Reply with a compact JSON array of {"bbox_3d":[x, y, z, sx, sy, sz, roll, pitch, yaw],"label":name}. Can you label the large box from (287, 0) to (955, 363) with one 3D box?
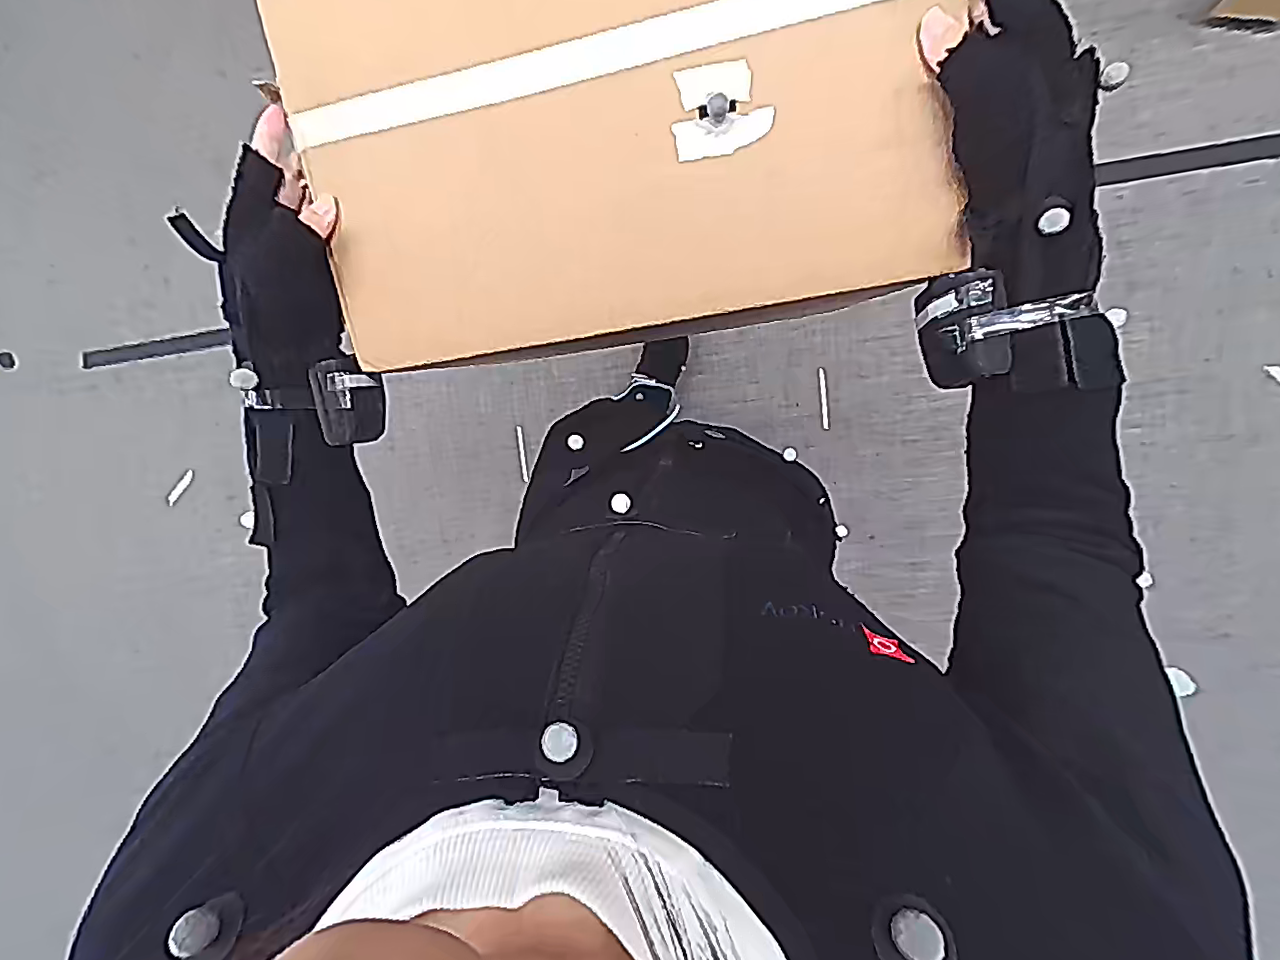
[{"bbox_3d":[-0.006,-0.294,0.481,0.408,0.320,0.320,-8,103,8],"label":"large box"}]
